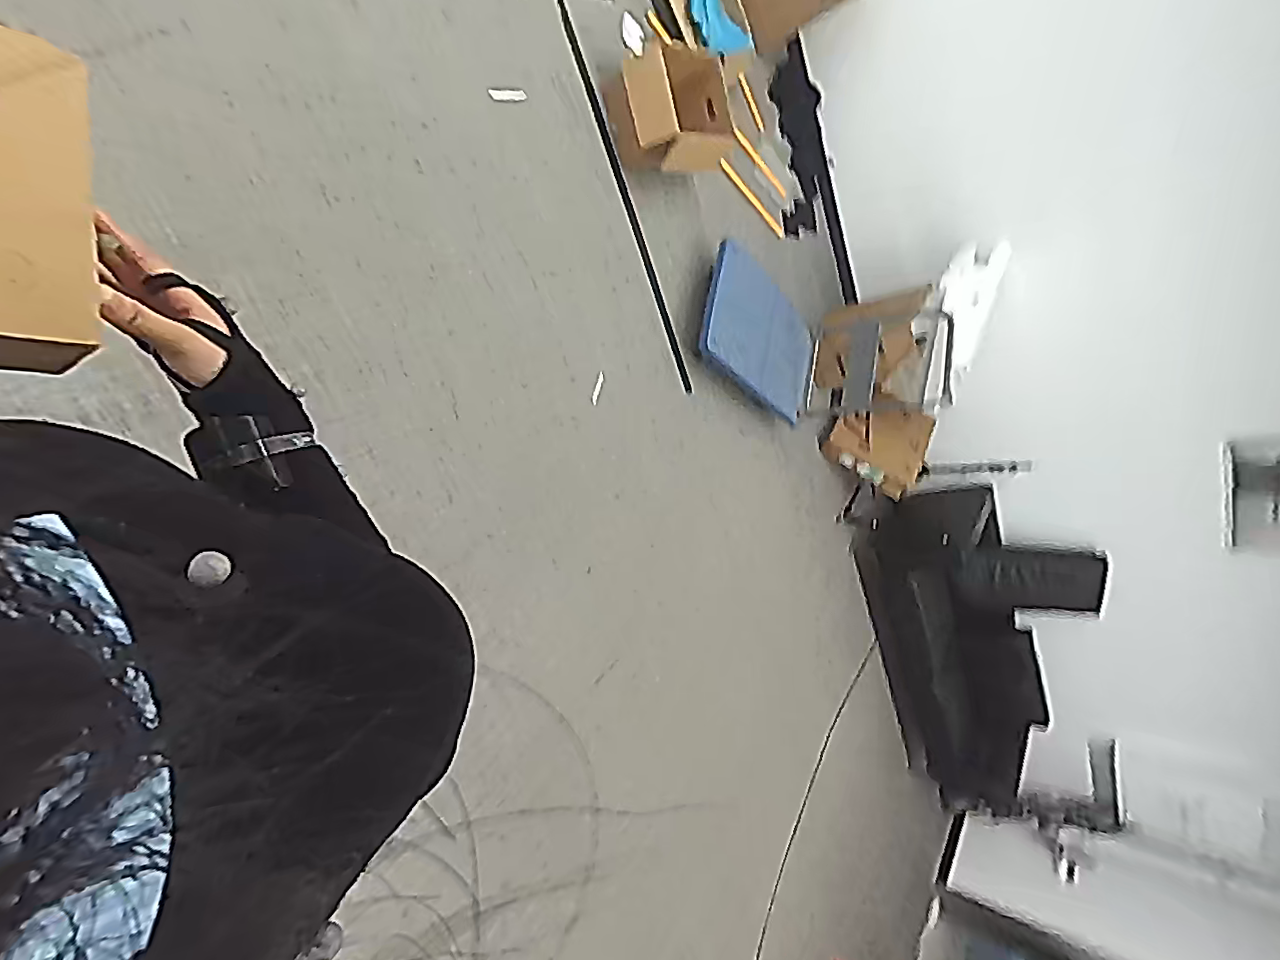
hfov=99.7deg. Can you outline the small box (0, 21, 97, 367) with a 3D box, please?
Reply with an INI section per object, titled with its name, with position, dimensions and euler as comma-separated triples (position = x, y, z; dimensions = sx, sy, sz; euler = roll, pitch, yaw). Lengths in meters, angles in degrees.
[small box]
position = -0.443, -0.166, 0.310
dimensions = 0.168, 0.176, 0.179
euler = -4, 94, -53
